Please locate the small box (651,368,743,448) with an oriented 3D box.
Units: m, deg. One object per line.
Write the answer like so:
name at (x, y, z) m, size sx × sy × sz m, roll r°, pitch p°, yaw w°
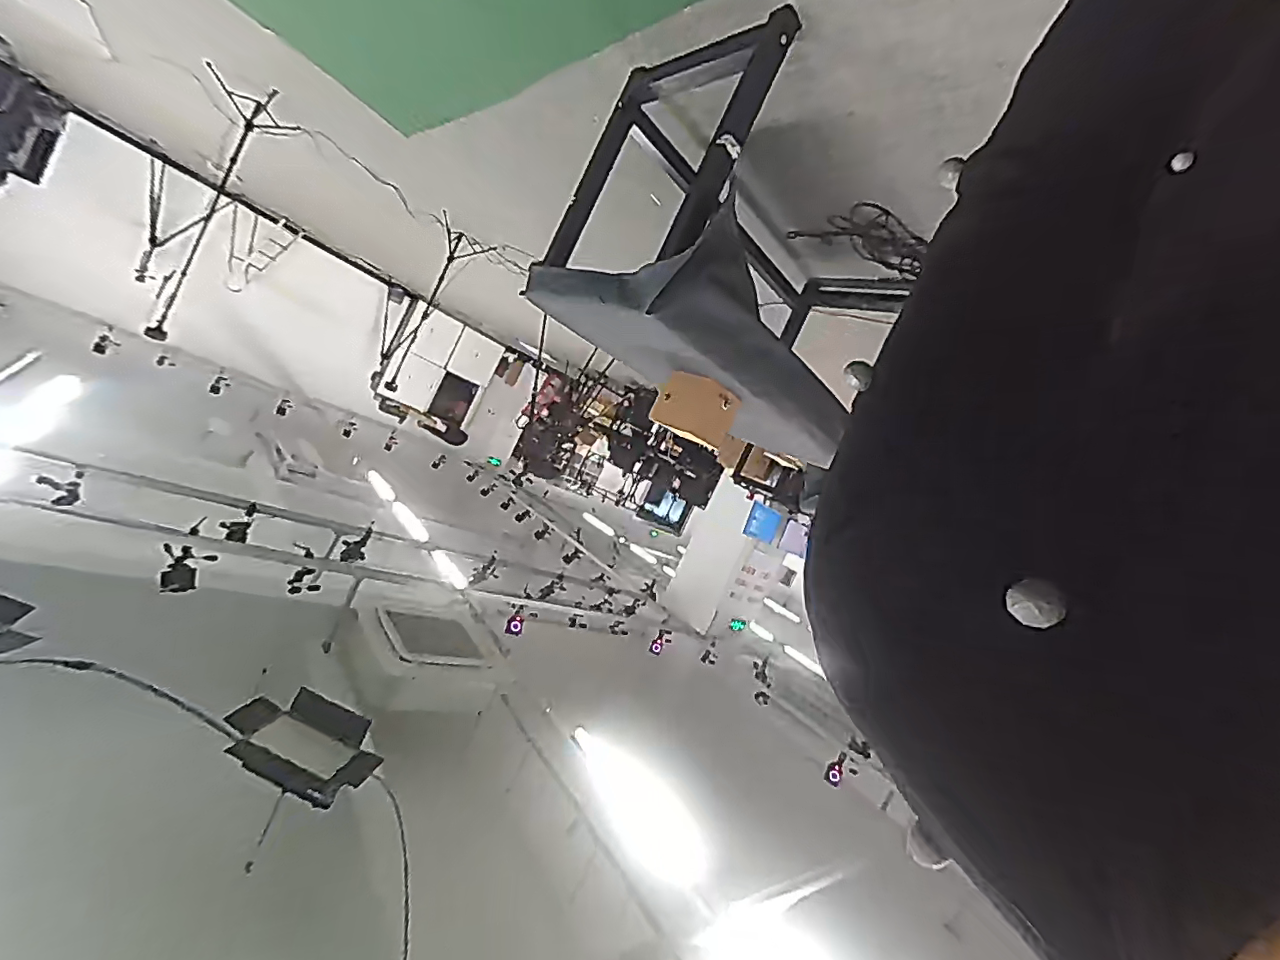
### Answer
small box at (0.171, -0.216, 1.592) m, size 0.168 × 0.176 × 0.179 m, roll 22°, pitch -177°, yaw -44°
